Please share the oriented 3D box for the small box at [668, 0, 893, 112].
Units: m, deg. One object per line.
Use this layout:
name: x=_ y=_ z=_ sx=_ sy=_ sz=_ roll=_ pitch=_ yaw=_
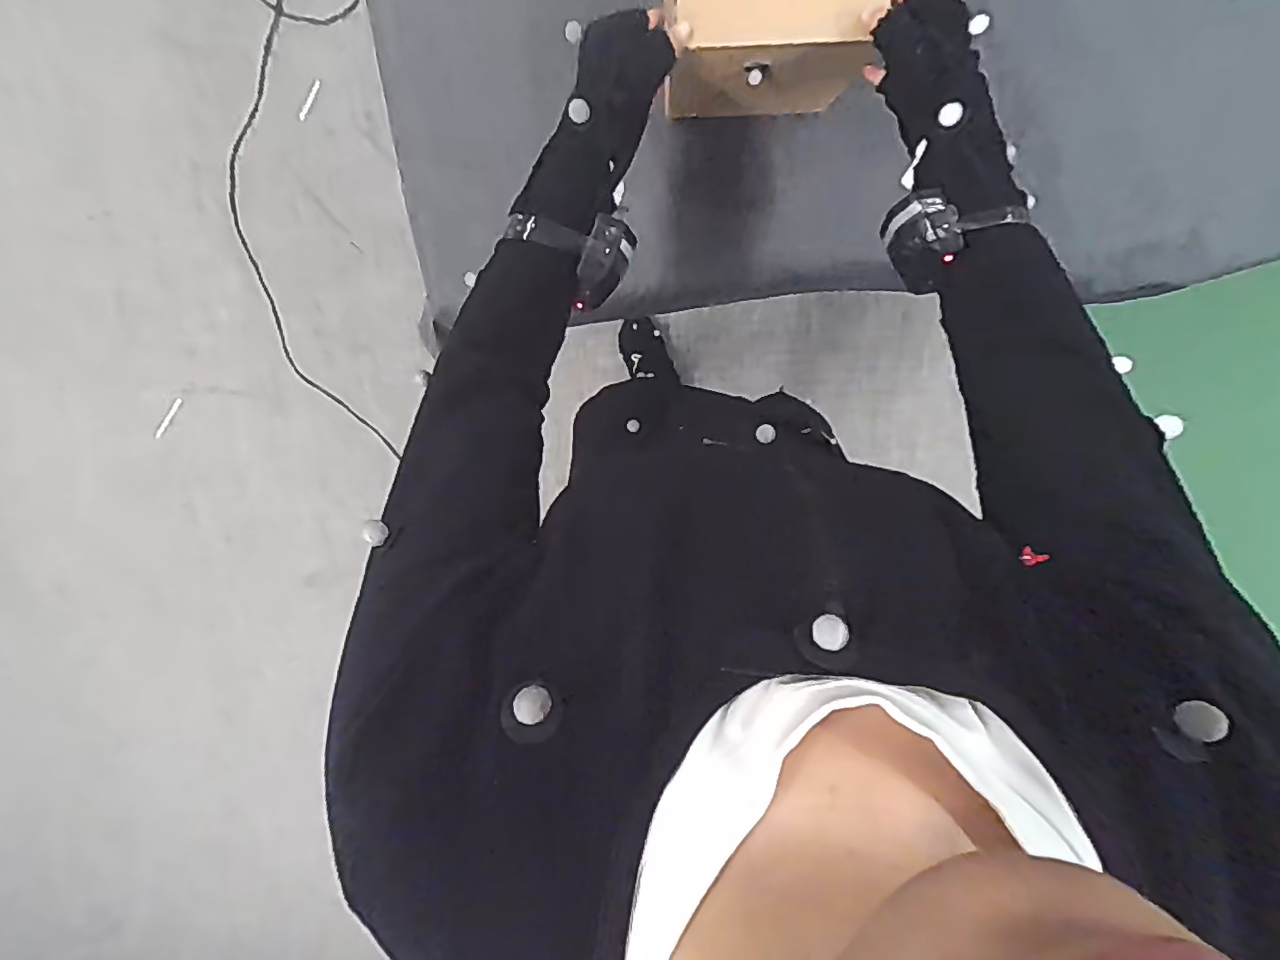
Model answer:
small box: x=0.115 y=-0.457 z=0.493 sx=0.179 sy=0.176 sz=0.168 roll=-2 pitch=108 yaw=0
